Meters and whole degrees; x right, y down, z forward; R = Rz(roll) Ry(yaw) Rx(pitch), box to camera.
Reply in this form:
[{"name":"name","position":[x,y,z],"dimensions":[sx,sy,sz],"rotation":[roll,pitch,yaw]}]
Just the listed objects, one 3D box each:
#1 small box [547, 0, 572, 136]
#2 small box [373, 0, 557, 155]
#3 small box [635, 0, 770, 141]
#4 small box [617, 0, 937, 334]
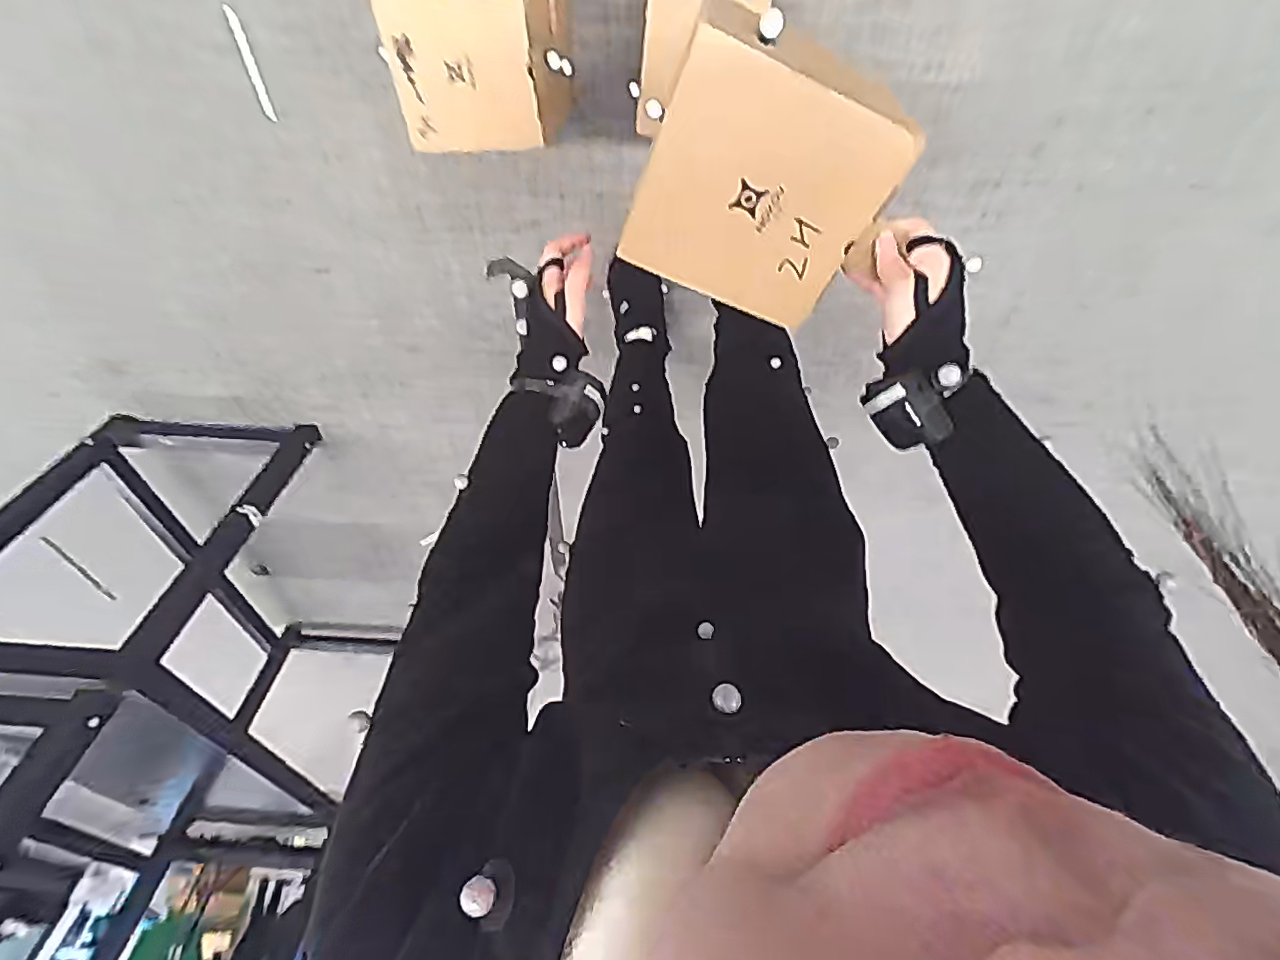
[{"name":"small box","position":[-0.195,-0.648,0.819],"dimensions":[0.168,0.176,0.179],"rotation":[4,134,-1]},{"name":"small box","position":[-0.206,-0.535,0.700],"dimensions":[0.179,0.176,0.168],"rotation":[0,134,2]},{"name":"small box","position":[0.087,-0.630,0.826],"dimensions":[0.168,0.176,0.179],"rotation":[6,134,-4]},{"name":"small box","position":[0.098,-0.260,0.451],"dimensions":[0.179,0.176,0.168],"rotation":[19,137,-13]}]
